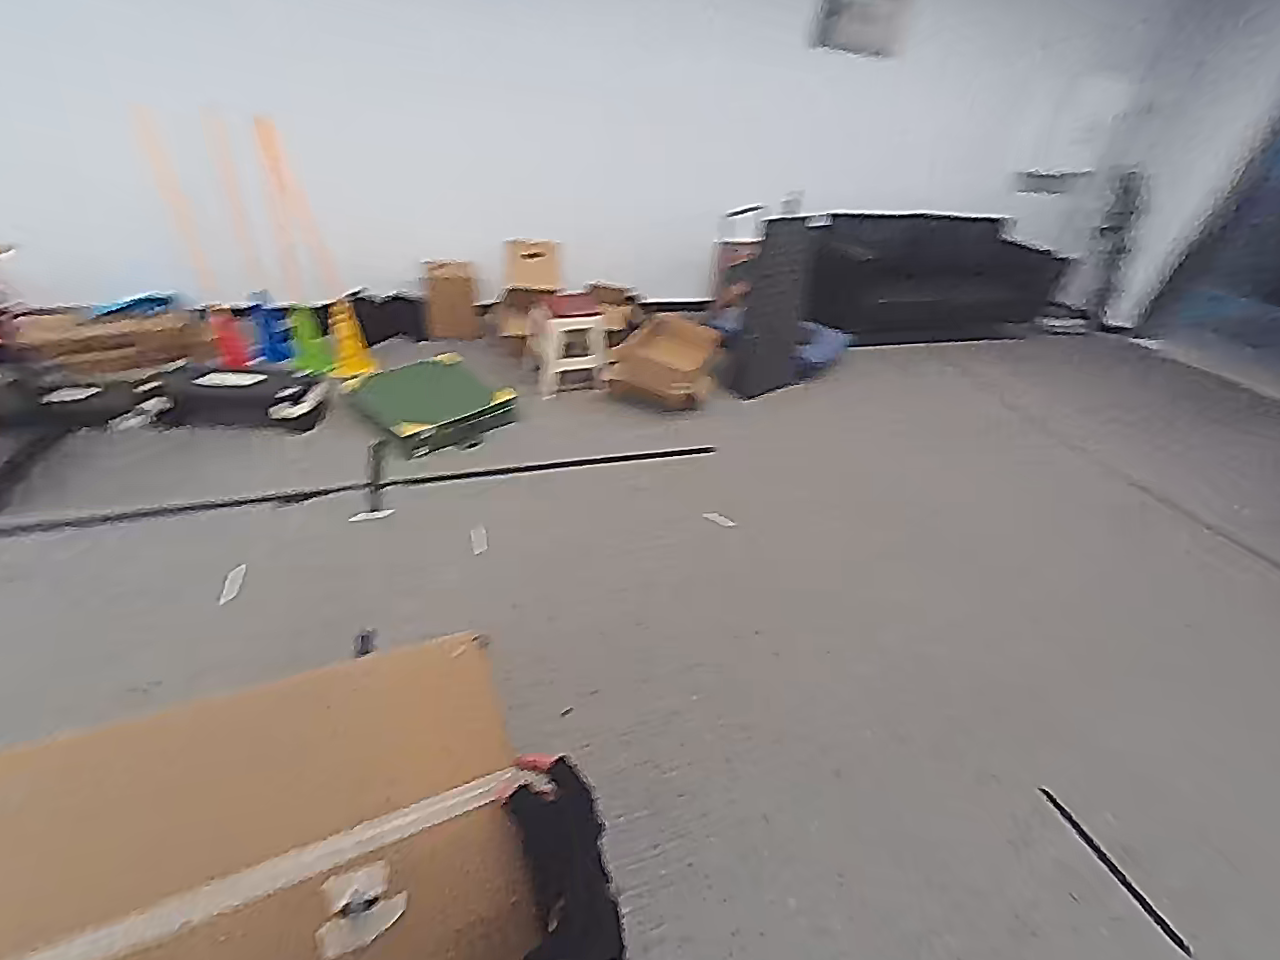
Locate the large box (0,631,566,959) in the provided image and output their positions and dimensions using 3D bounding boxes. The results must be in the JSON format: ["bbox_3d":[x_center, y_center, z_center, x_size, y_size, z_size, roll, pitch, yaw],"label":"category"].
[{"bbox_3d":[-0.332,0.405,0.546,0.408,0.320,0.320,-8,55,-26],"label":"large box"}]
